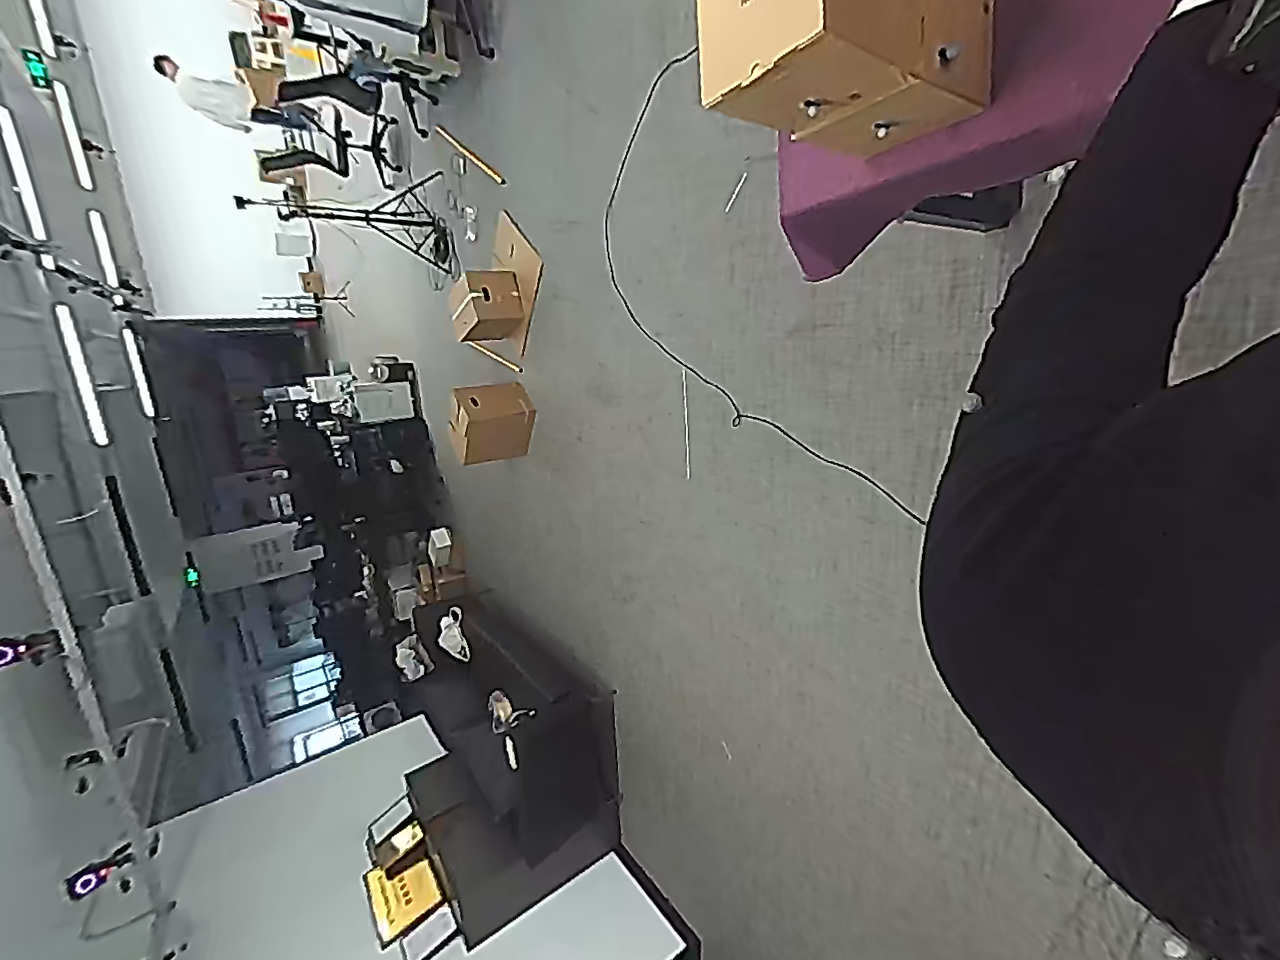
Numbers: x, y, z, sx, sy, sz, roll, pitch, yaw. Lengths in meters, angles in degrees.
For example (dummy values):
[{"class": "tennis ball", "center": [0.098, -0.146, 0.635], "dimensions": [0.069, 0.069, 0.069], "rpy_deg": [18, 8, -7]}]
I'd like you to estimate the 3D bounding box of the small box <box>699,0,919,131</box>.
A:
[{"class": "small box", "center": [0.182, -0.514, 0.584], "dimensions": [0.168, 0.176, 0.179], "rpy_deg": [11, 110, 53]}]
